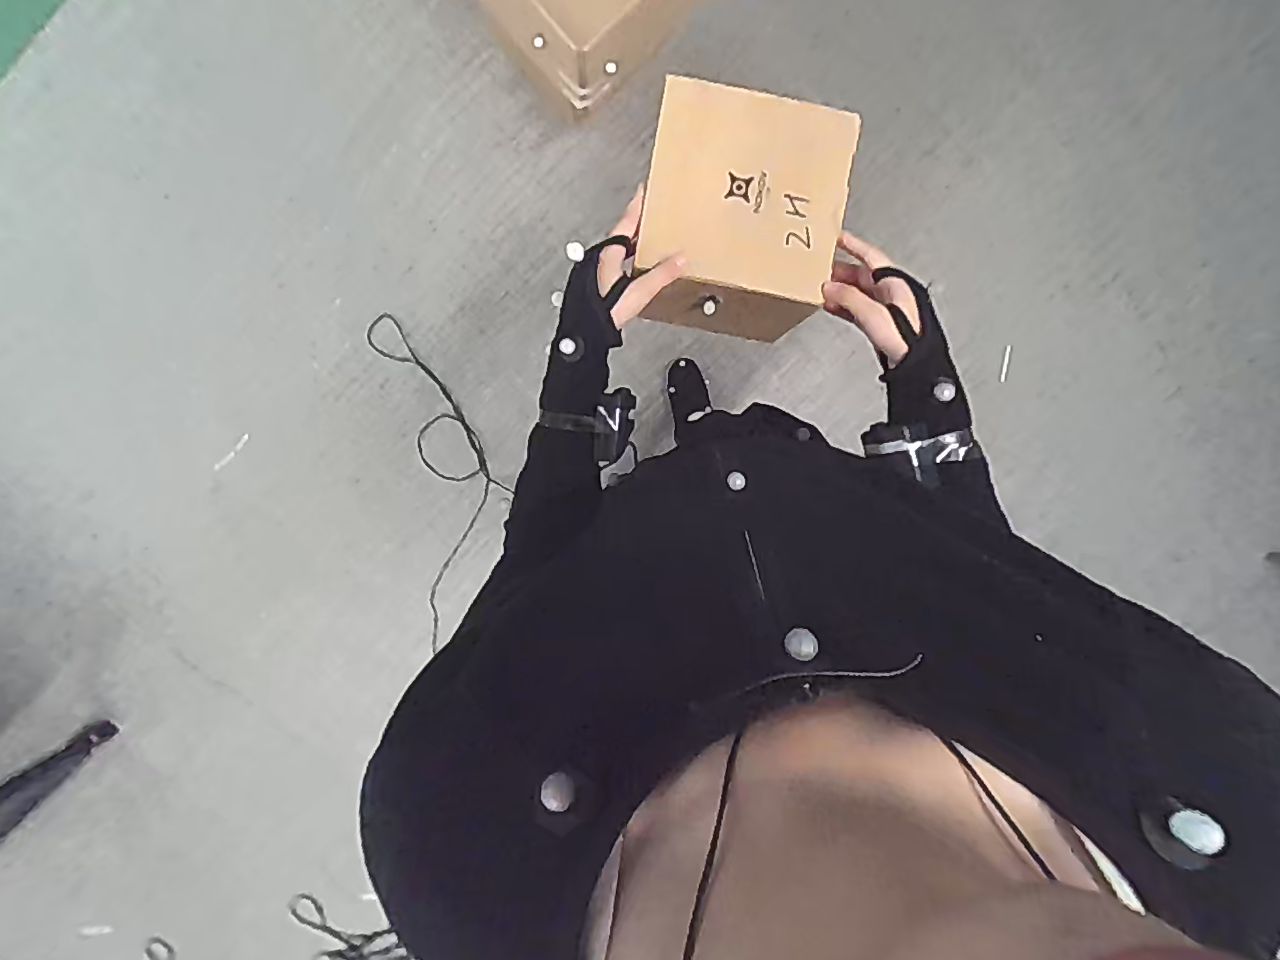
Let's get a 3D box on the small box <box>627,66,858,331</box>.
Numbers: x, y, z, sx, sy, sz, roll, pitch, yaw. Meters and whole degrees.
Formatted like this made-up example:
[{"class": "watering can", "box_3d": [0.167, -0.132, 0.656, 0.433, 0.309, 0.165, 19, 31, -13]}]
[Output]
[{"class": "small box", "box_3d": [0.085, -0.258, 0.539, 0.179, 0.176, 0.168, 10, 93, -2]}]
